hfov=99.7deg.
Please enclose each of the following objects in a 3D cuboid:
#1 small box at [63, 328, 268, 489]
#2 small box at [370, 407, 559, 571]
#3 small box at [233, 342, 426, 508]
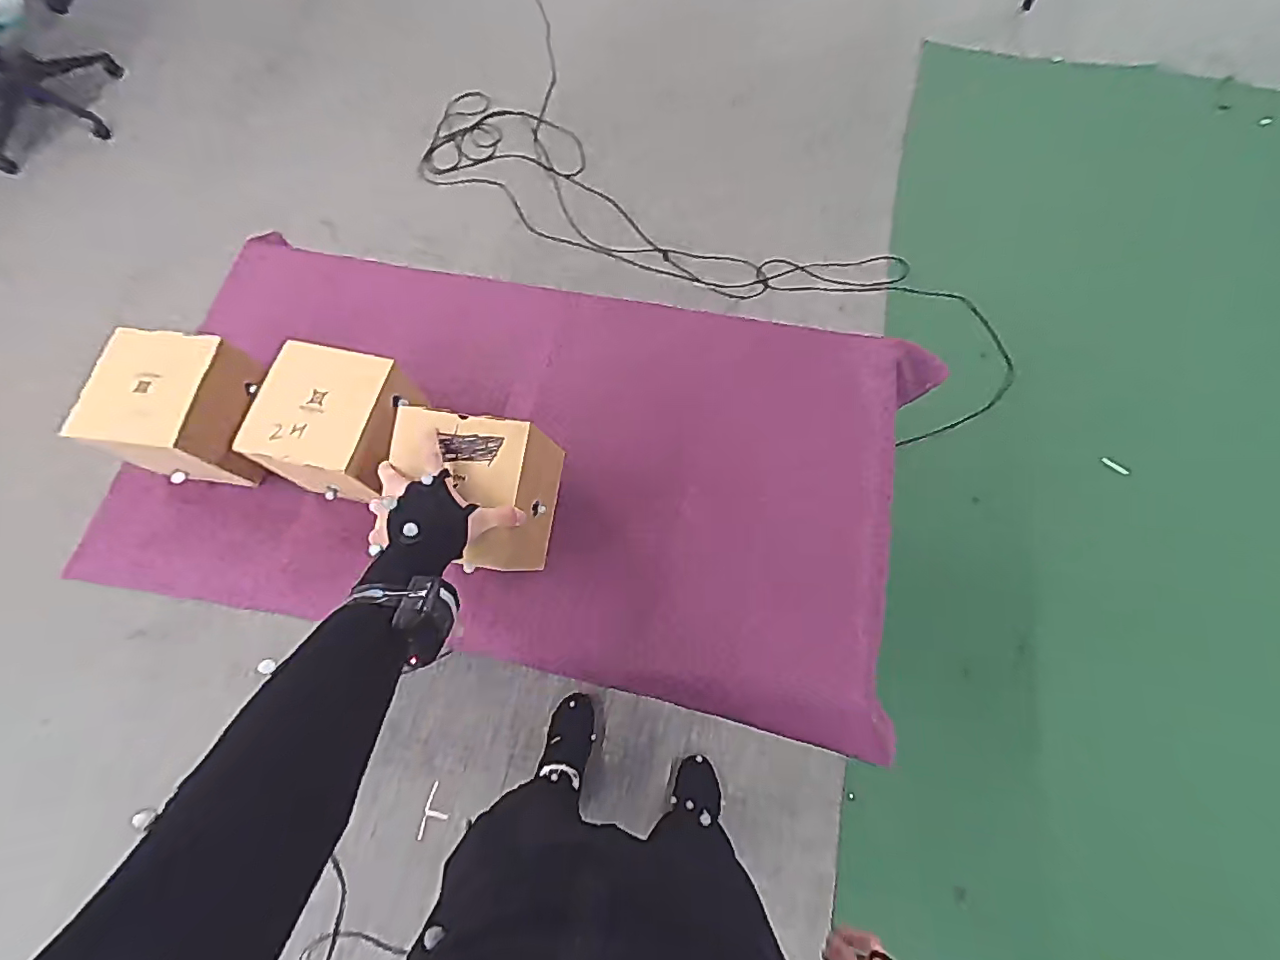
[{"bbox_3d":[-0.683,-0.102,0.824,0.168,0.176,0.179,7,71,5],"label":"small box"},{"bbox_3d":[-0.213,0.019,0.709,0.168,0.176,0.179,8,83,8],"label":"small box"},{"bbox_3d":[-0.436,-0.073,0.804,0.168,0.176,0.179,12,71,6],"label":"small box"}]
